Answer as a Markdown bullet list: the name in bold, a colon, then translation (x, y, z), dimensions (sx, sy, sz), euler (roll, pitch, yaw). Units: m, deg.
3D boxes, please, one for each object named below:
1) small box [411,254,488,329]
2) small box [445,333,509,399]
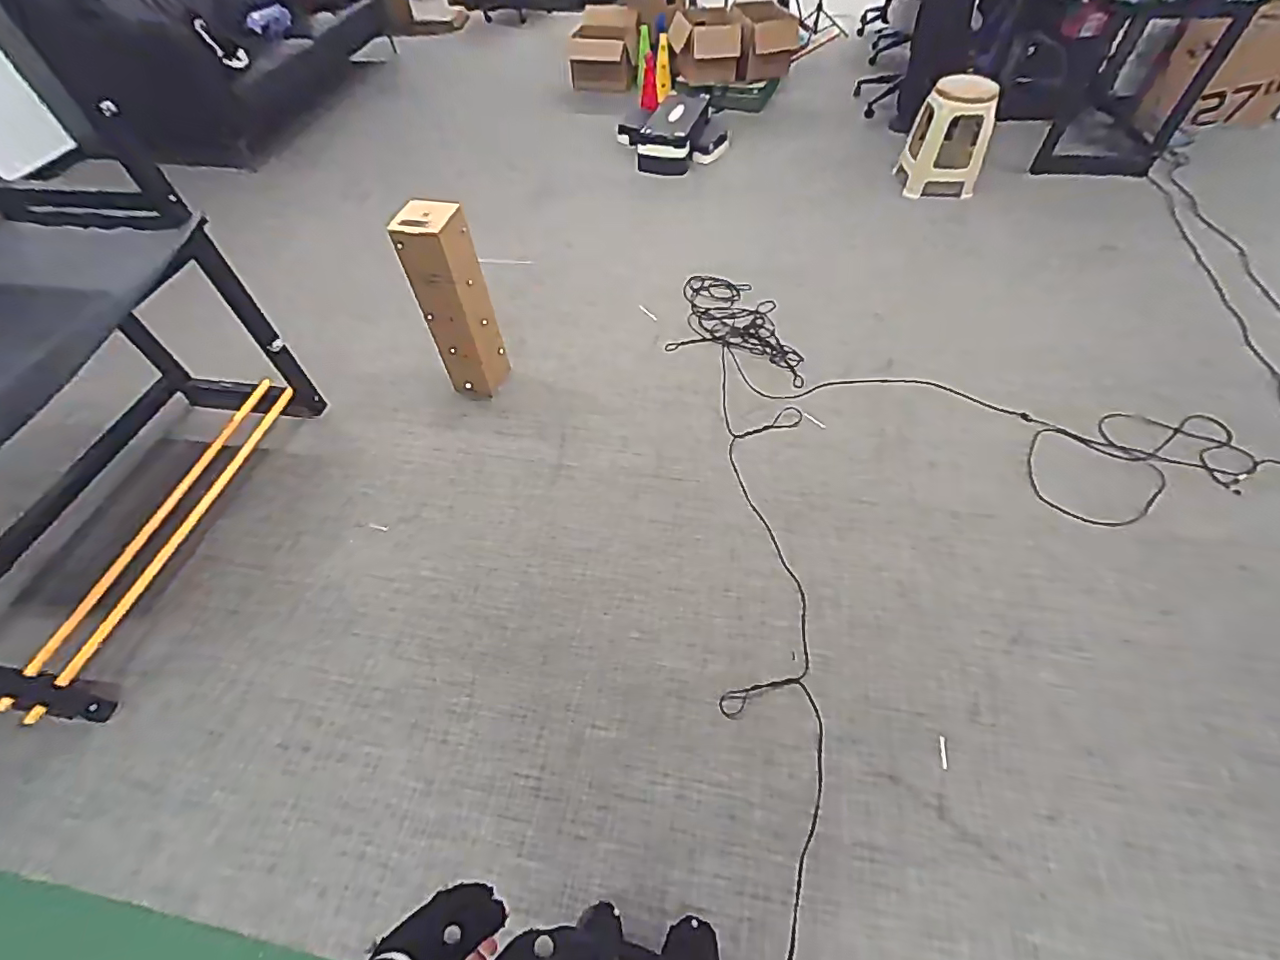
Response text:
- **small box**: translation (-0.635, -0.635, 1.828), dimensions (0.168, 0.176, 0.179), euler (10, 54, 9)
- **small box**: translation (-0.621, -0.440, 2.089), dimensions (0.168, 0.176, 0.179), euler (11, 55, 11)
